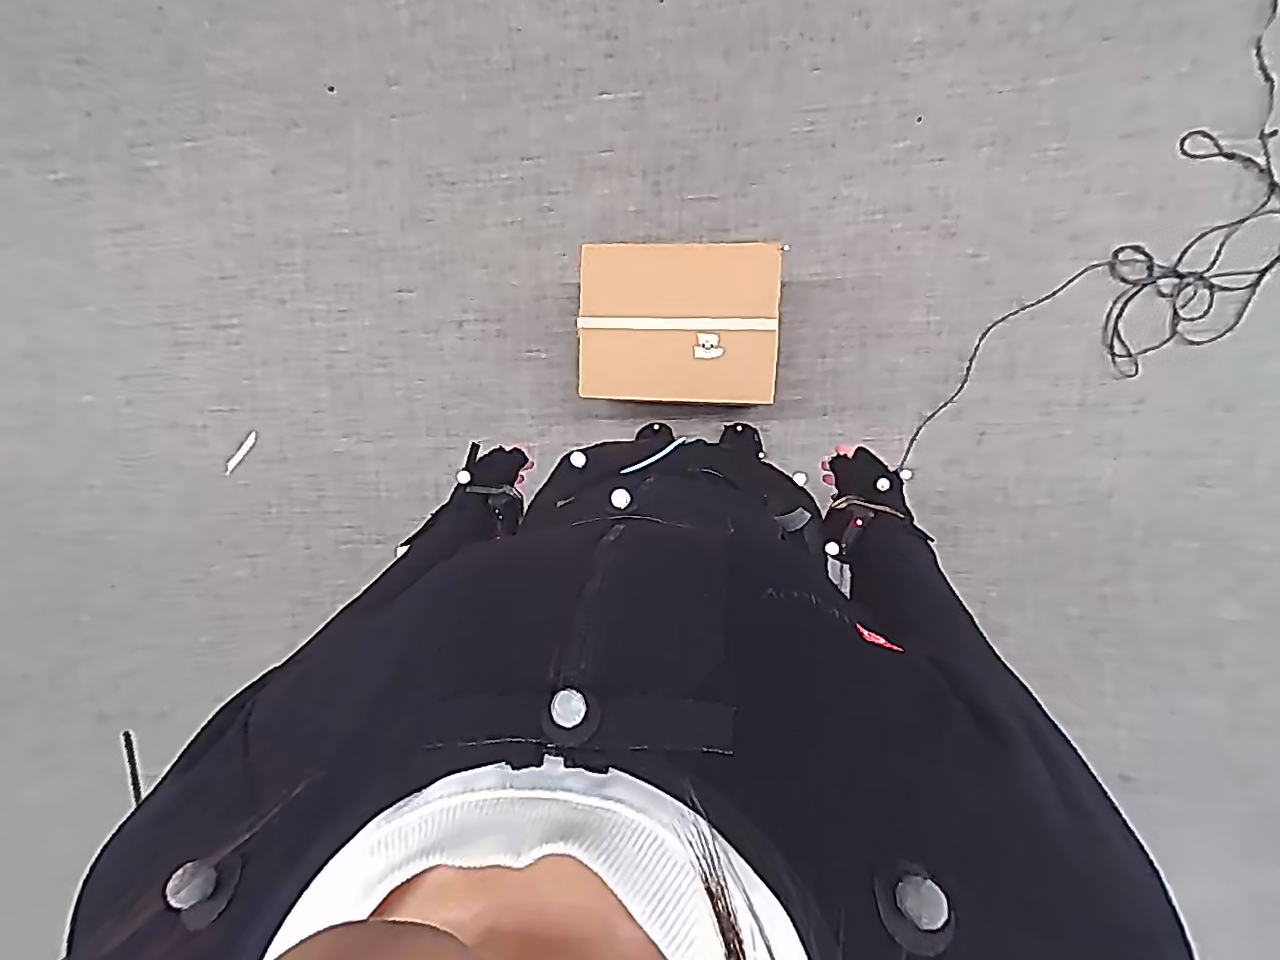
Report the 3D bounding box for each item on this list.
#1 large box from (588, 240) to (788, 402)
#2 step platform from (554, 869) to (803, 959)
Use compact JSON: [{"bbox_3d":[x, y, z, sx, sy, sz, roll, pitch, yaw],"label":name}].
[{"bbox_3d":[0.107,-0.342,1.246,0.408,0.320,0.320,3,98,7],"label":"large box"},{"bbox_3d":[0.104,1.323,1.516,0.684,0.204,0.286,-1,97,10],"label":"step platform"}]
